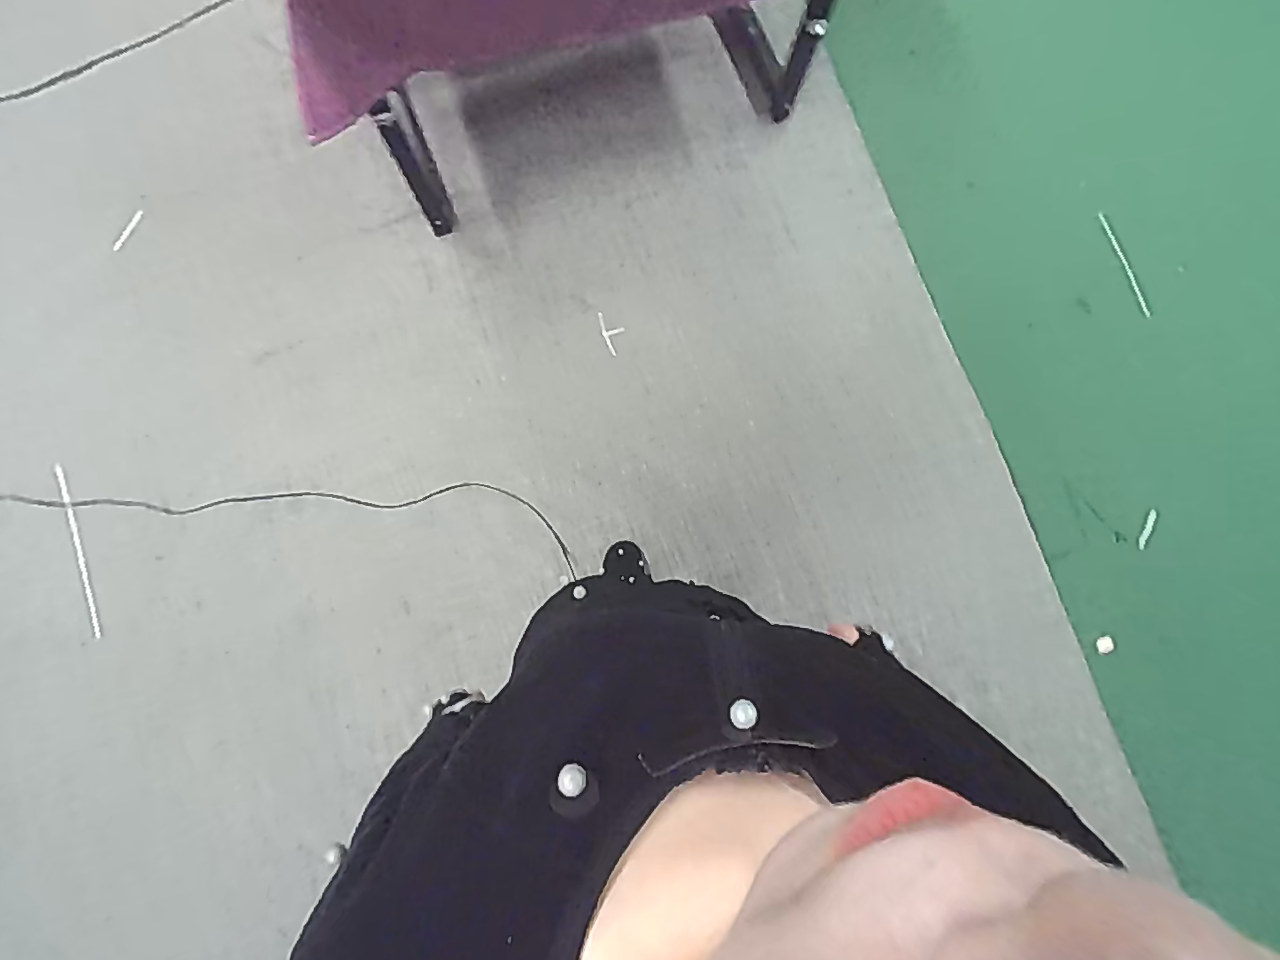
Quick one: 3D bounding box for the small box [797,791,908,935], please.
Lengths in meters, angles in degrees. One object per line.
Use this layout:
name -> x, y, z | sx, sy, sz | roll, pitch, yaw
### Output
small box -> 0.433, 0.755, 1.061 | 0.168, 0.176, 0.179 | -17, 84, -5
